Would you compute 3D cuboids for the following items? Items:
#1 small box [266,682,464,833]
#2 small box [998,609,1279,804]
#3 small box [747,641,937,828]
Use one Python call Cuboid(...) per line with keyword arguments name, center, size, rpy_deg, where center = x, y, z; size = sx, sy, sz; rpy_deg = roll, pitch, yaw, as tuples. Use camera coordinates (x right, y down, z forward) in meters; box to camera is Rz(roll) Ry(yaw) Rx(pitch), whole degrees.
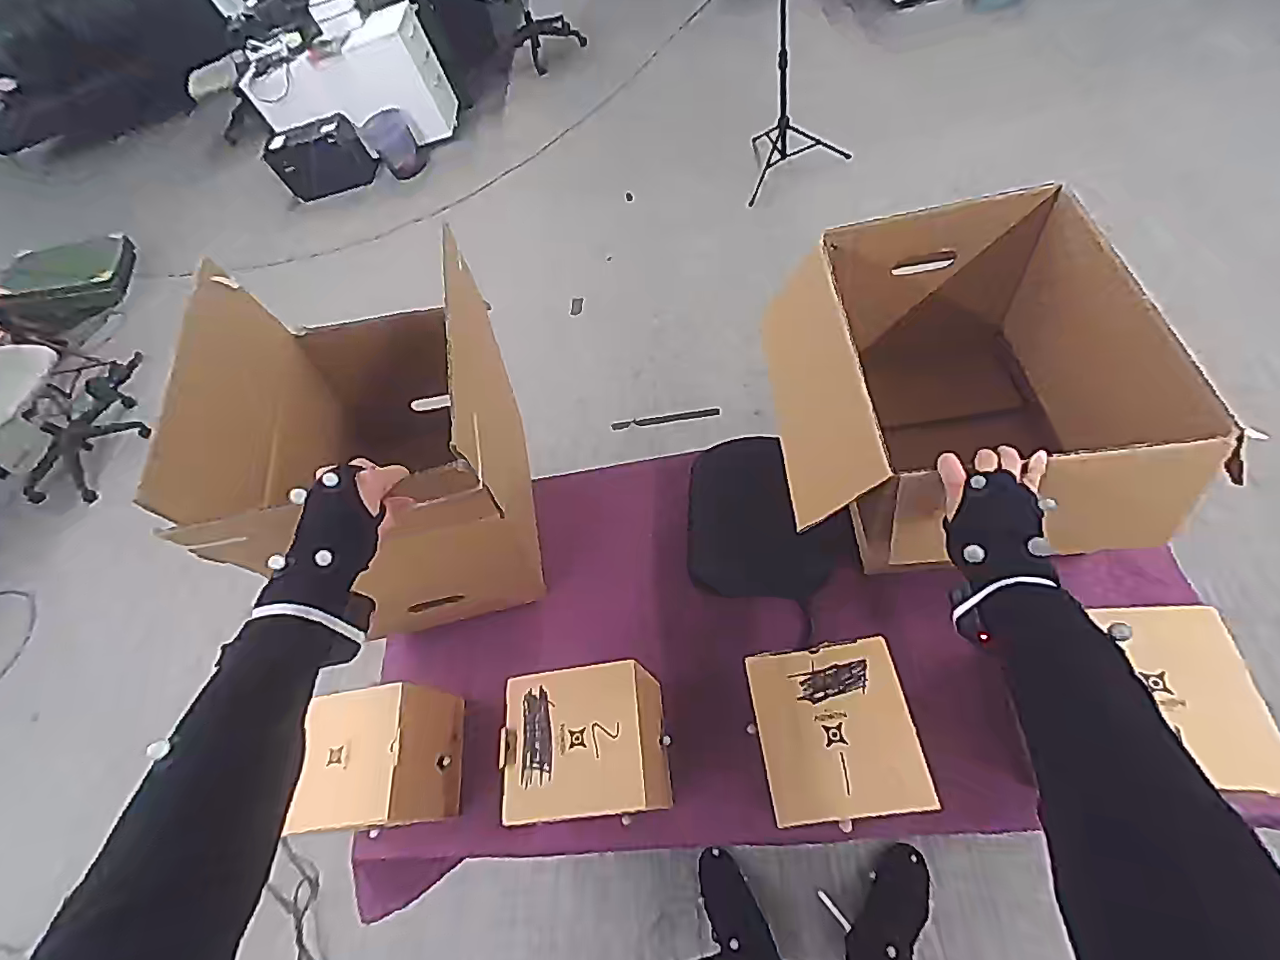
Cuboid(name="small box", center=(-0.380, 0.404, 0.781), size=(0.179, 0.176, 0.168), rpy_deg=(-12, 58, 7))
Cuboid(name="small box", center=(0.534, 0.256, 0.606), size=(0.168, 0.176, 0.179), rpy_deg=(-5, 59, 14))
Cuboid(name="small box", center=(0.230, 0.314, 0.661), size=(0.168, 0.176, 0.179), rpy_deg=(-12, 59, 9))
